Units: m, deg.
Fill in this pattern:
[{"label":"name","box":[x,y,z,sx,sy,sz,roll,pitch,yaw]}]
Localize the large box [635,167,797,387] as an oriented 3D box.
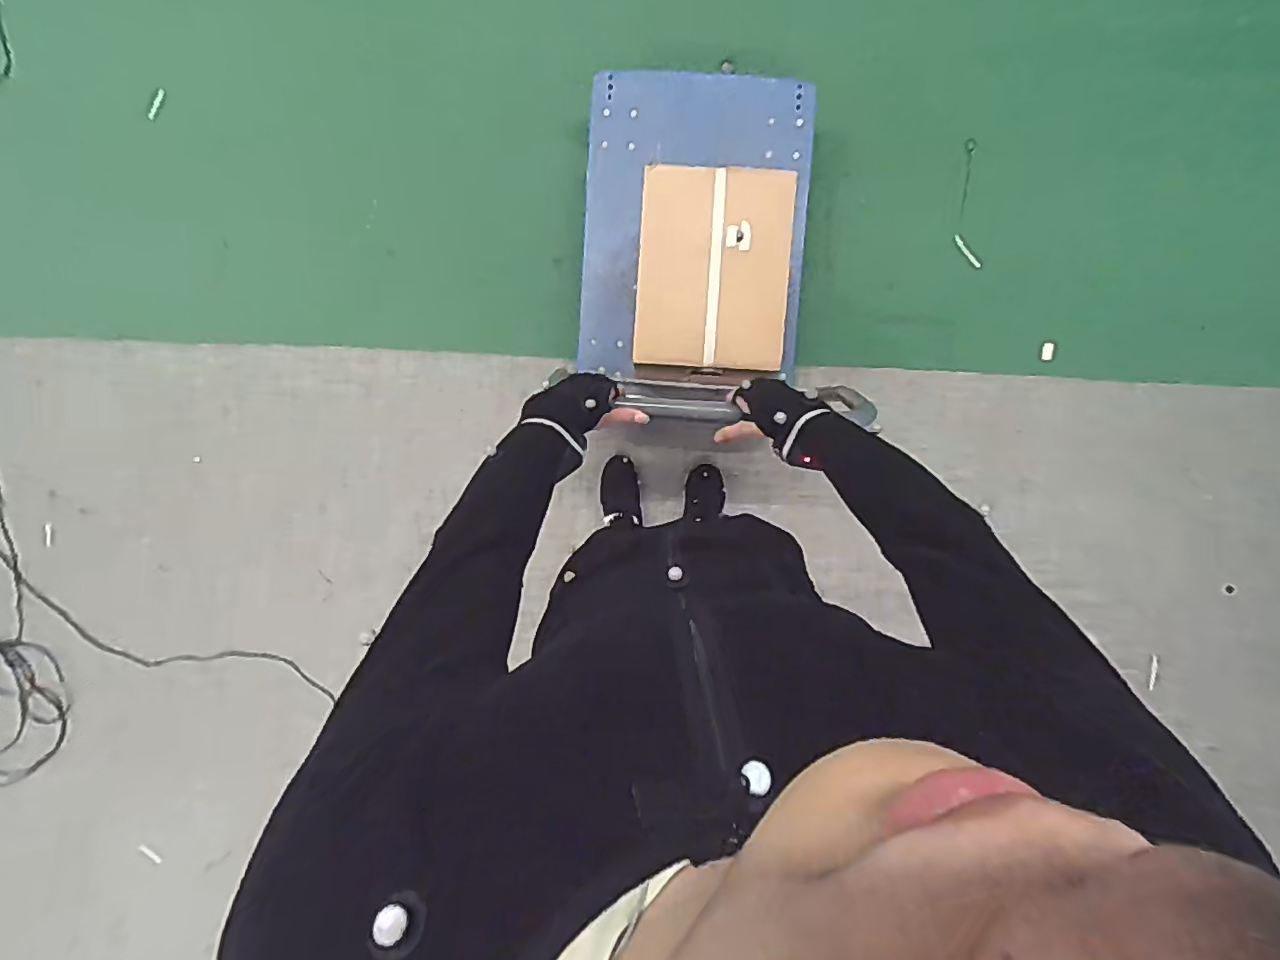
[{"label":"large box","box":[0.158,-0.436,1.249,0.320,0.320,0.408,4,93,0]}]
